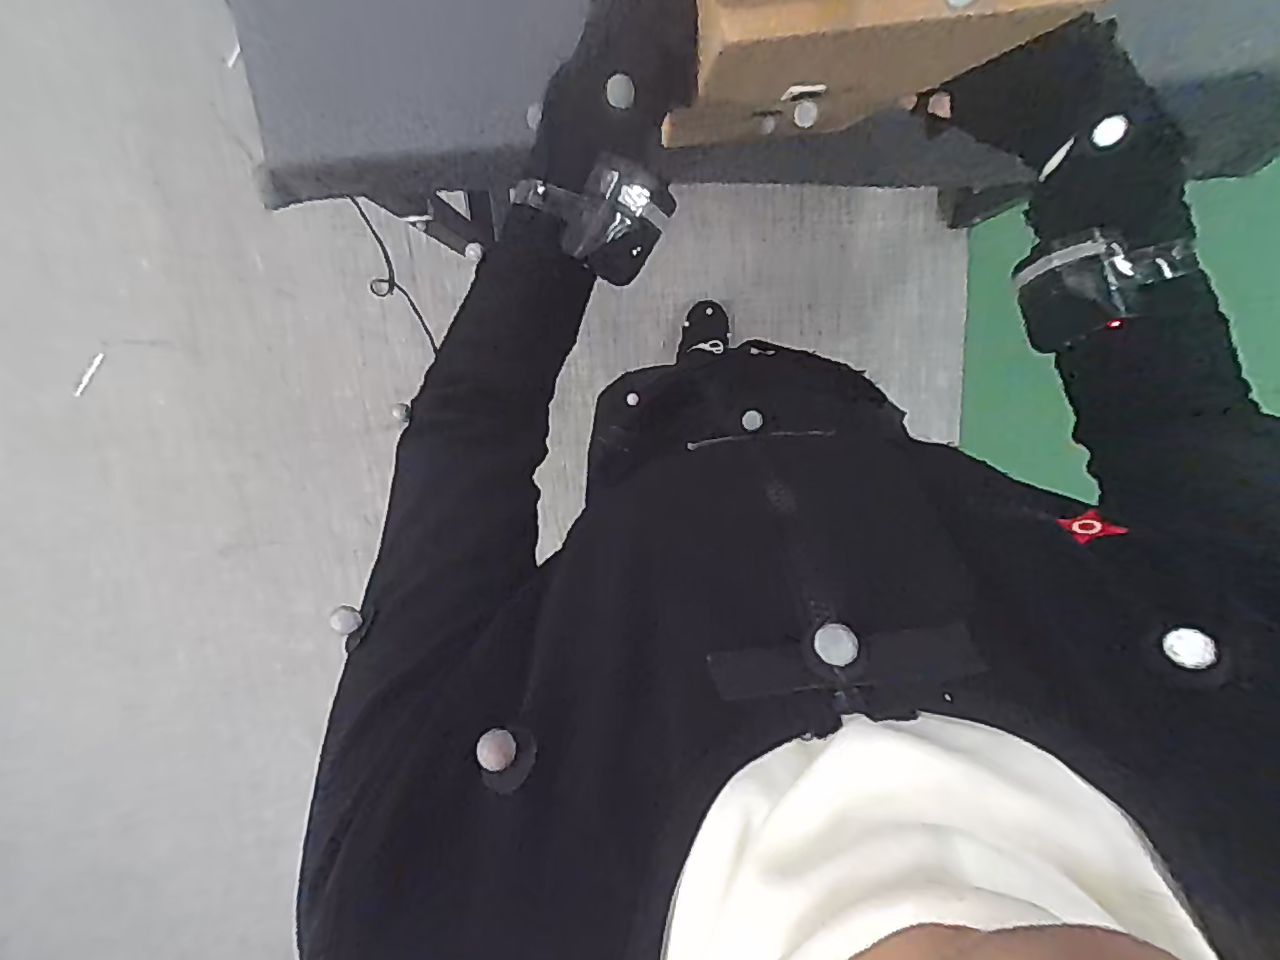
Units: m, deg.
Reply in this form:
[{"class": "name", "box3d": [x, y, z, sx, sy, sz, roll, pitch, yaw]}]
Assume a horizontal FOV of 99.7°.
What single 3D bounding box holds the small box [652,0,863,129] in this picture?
[{"class": "small box", "box3d": [0.097, -0.381, 0.412, 0.179, 0.176, 0.168, -4, 115, 1]}]
